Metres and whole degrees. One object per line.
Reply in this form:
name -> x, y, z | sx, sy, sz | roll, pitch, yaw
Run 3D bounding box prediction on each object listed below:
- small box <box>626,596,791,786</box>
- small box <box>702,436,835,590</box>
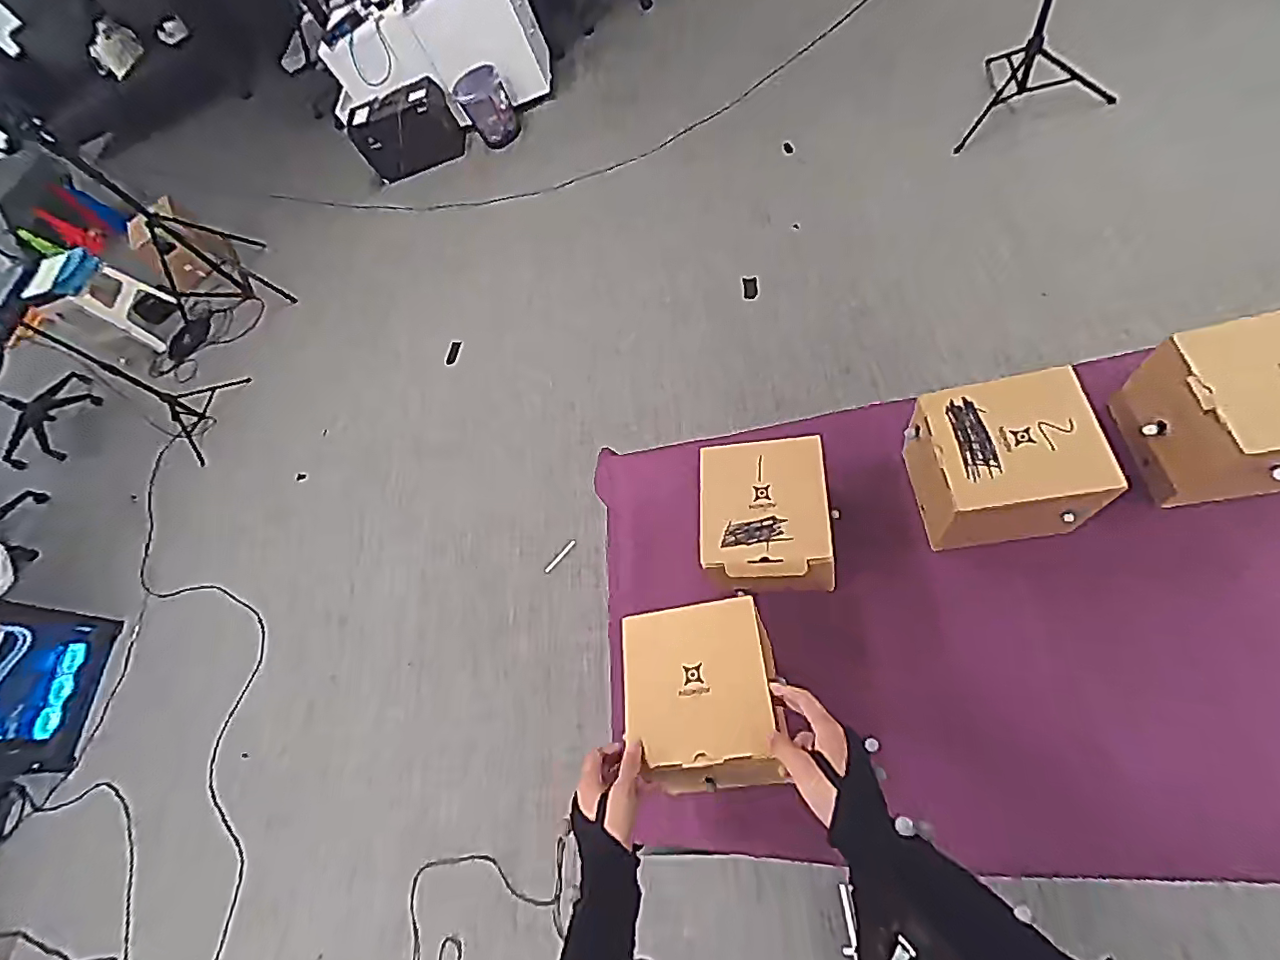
small box -> 0.085, 0.266, 0.668 | 0.168, 0.176, 0.179 | -12, 54, 12
small box -> 0.186, 0.058, 0.776 | 0.168, 0.176, 0.179 | -5, 64, 17
